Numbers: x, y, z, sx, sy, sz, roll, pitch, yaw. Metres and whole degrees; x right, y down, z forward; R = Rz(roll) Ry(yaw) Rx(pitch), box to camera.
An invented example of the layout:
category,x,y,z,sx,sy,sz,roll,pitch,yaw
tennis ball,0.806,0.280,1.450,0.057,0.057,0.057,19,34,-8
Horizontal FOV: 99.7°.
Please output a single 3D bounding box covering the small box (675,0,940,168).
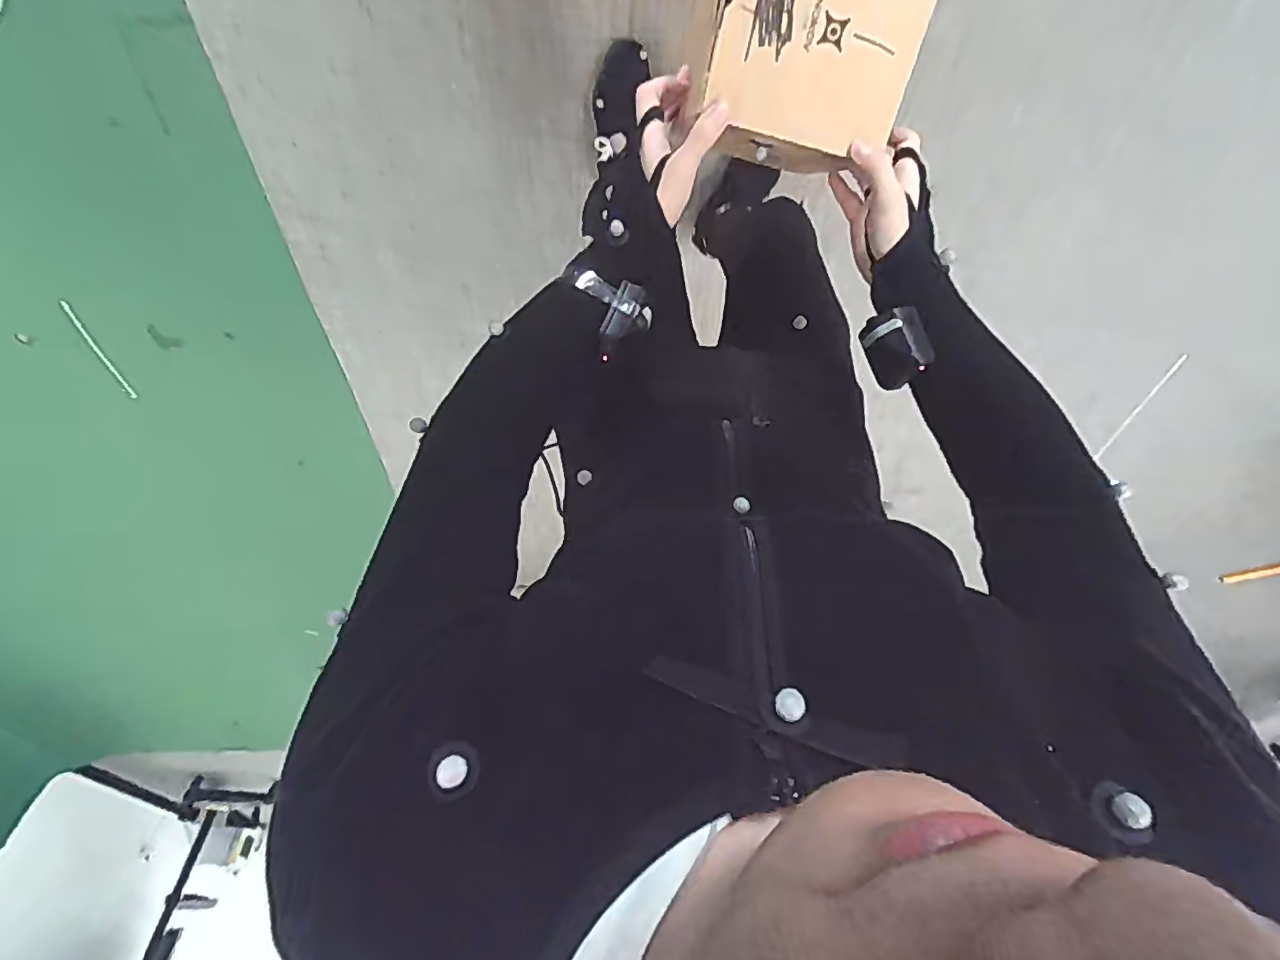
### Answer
category,x,y,z,sx,sy,sz,roll,pitch,yaw
small box,0.142,-0.404,0.505,0.179,0.176,0.168,8,116,-12
